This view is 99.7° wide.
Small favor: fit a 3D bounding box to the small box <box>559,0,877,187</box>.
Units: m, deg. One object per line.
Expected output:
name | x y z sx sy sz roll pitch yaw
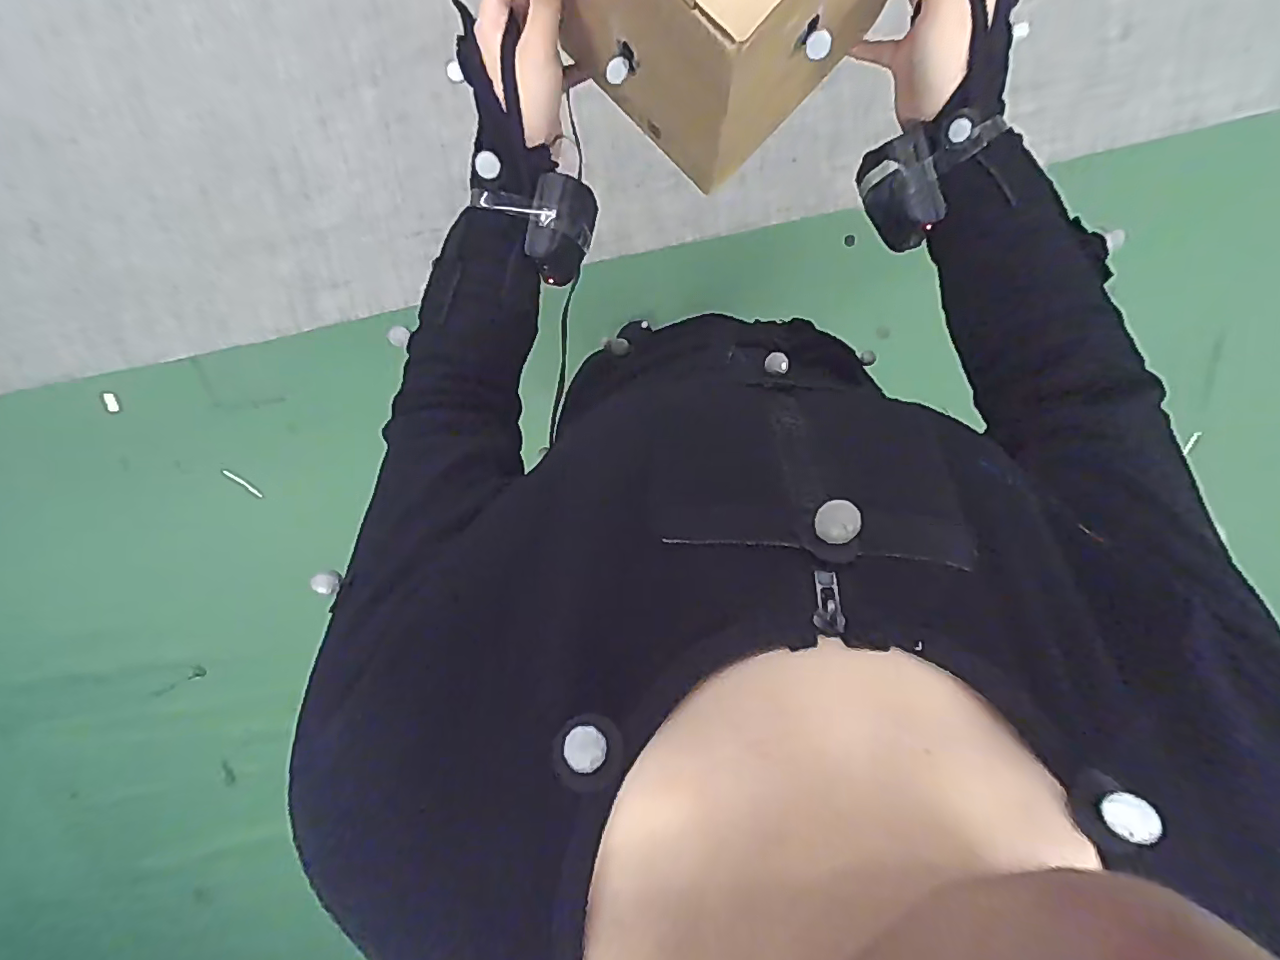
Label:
small box | 0.053 -0.330 0.337 0.168 0.176 0.179 45 96 -1
